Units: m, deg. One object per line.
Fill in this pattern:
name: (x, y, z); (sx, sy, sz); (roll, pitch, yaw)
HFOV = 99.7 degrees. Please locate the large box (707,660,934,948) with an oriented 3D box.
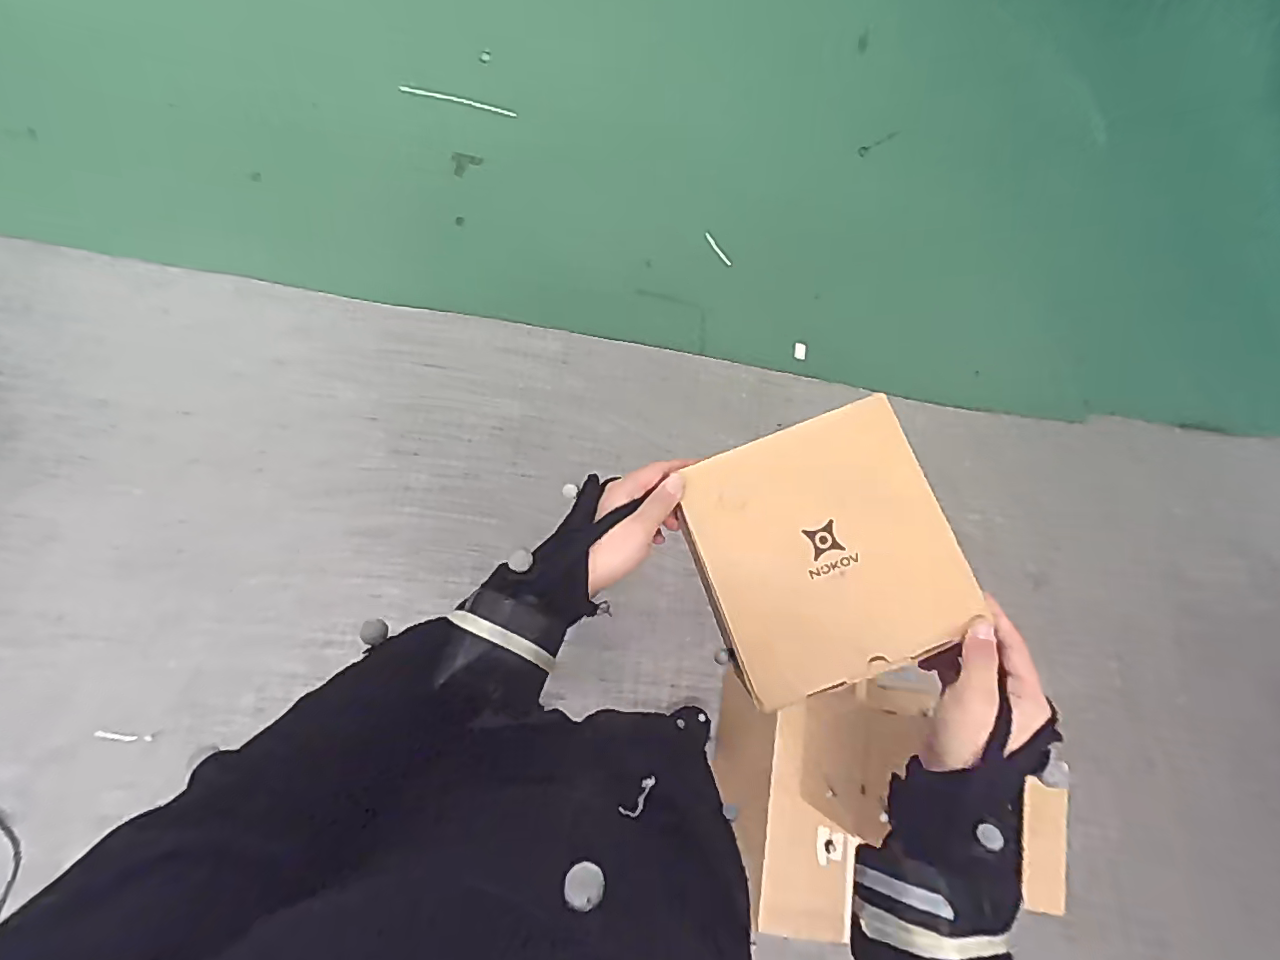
large box: (0.341, 0.596, 1.073); (0.320, 0.320, 0.408); (11, 75, -6)

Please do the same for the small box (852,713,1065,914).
small box: (0.403, 0.415, 0.704); (0.179, 0.176, 0.168); (15, 76, -7)
